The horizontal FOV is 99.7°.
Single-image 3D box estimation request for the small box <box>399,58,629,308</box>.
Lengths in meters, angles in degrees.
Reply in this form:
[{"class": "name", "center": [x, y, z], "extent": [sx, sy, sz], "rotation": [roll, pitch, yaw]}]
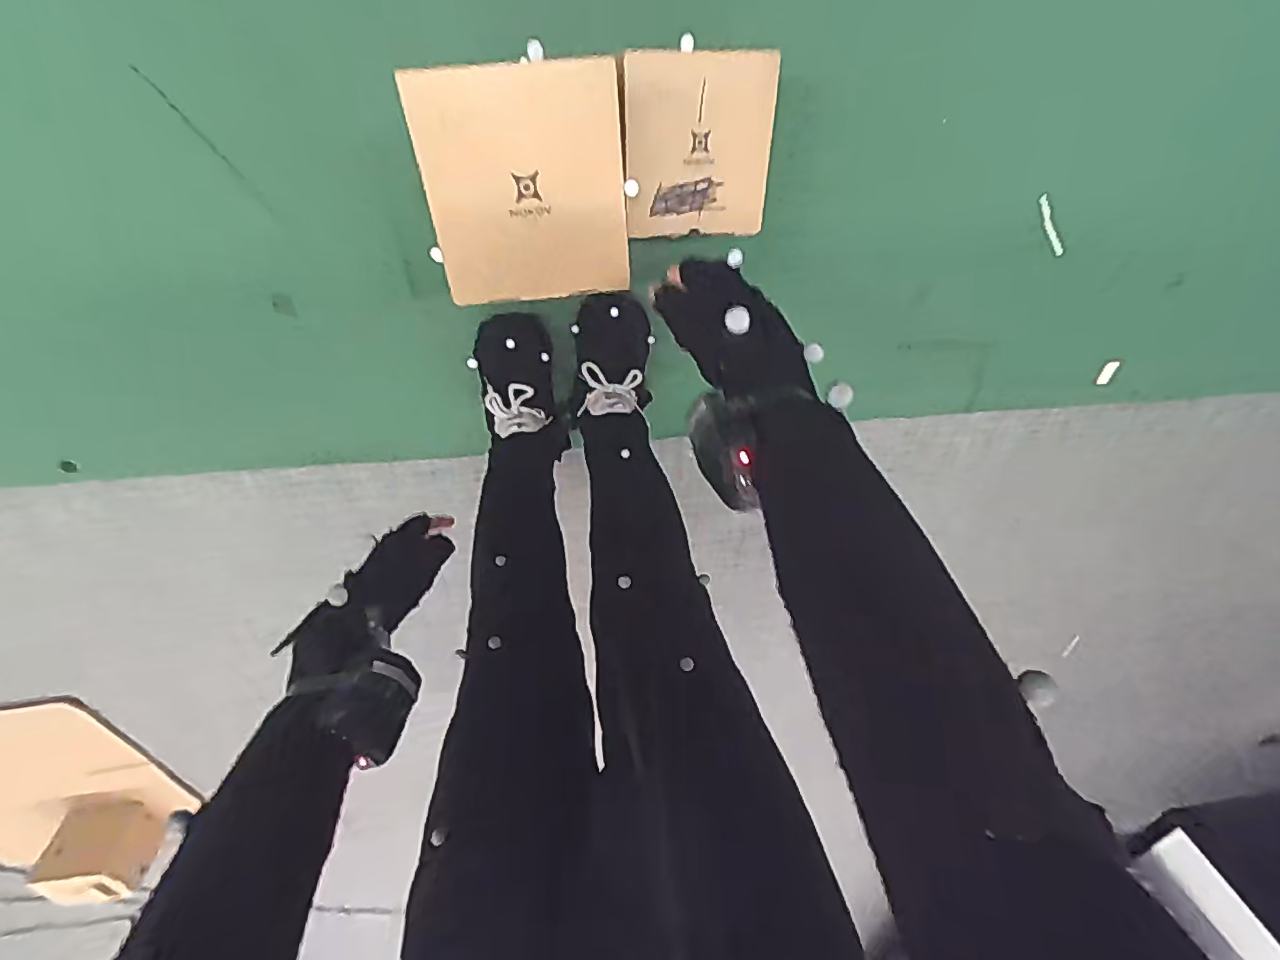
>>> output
[{"class": "small box", "center": [-0.107, -0.284, 0.516], "extent": [0.168, 0.176, 0.179], "rotation": [-8, 128, -5]}]
